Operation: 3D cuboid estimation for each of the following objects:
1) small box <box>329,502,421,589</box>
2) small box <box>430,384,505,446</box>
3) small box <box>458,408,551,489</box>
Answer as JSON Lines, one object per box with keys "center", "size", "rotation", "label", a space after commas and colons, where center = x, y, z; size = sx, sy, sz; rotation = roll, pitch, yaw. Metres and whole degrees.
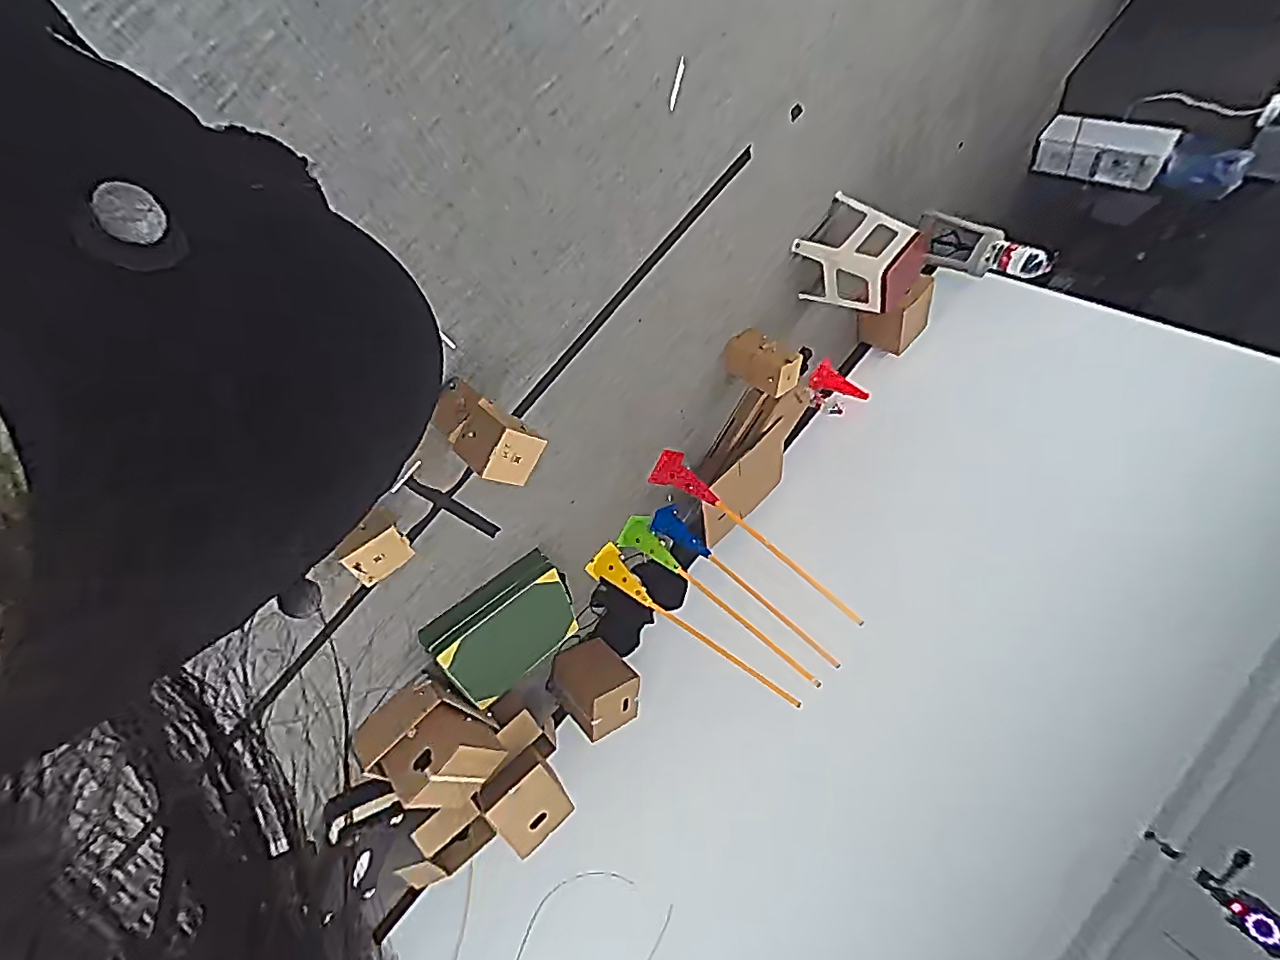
{"center": [-0.838, 0.203, 1.710], "size": [0.179, 0.176, 0.168], "rotation": [-39, 145, -18], "label": "small box"}
{"center": [-0.530, -0.183, 1.722], "size": [0.168, 0.176, 0.179], "rotation": [-50, 148, -4], "label": "small box"}
{"center": [-0.413, -0.098, 1.643], "size": [0.179, 0.176, 0.168], "rotation": [23, 100, -54], "label": "small box"}
